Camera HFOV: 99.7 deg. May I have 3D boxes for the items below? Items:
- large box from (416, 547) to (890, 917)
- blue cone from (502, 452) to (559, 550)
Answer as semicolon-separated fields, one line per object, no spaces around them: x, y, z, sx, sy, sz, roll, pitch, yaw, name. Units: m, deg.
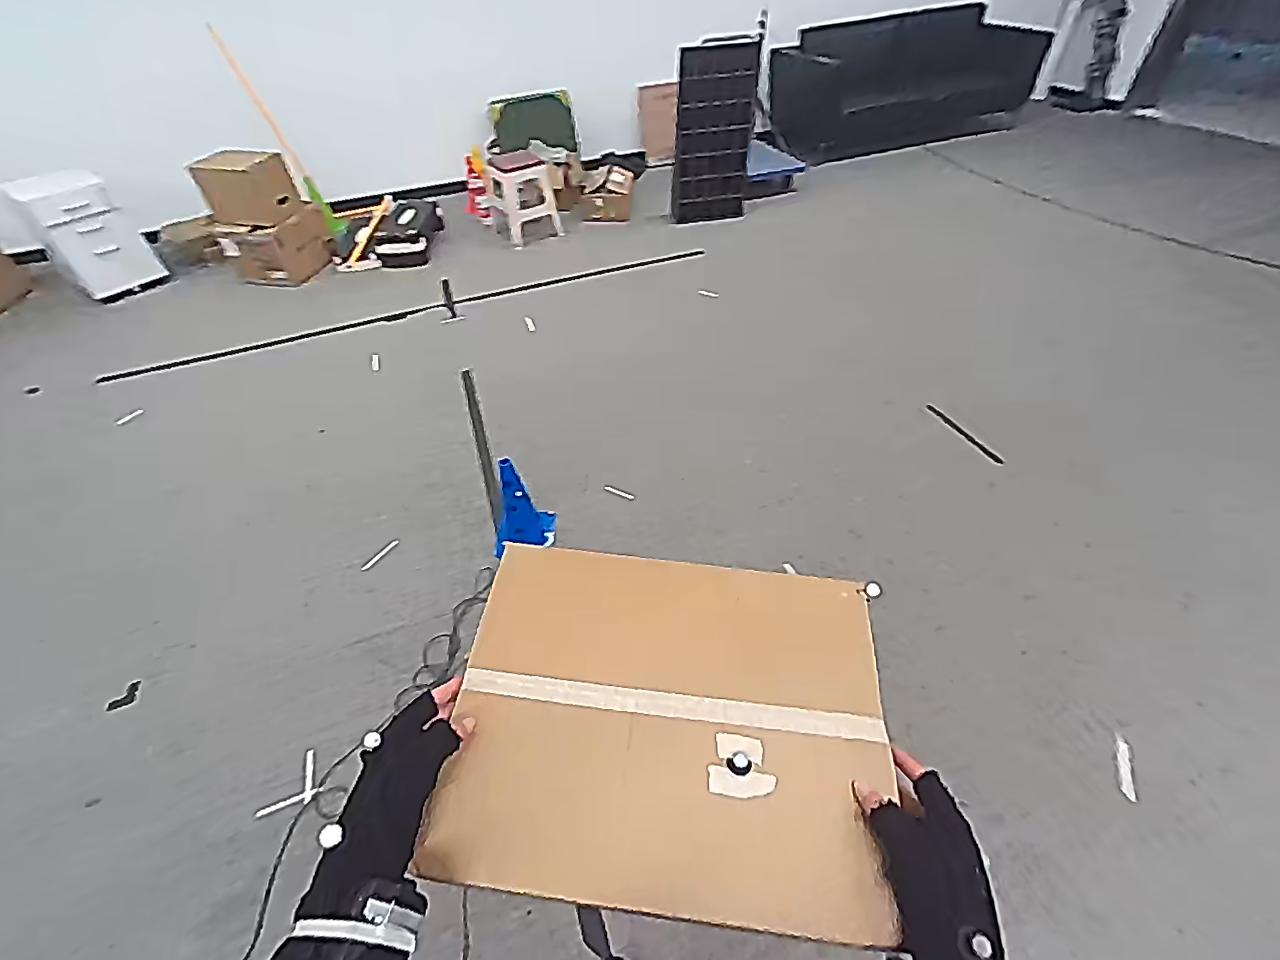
0.017;0.306;0.652;0.408;0.320;0.320;6;53;3;large box
-0.395;0.061;1.811;0.193;0.380;0.192;0;46;2;blue cone
